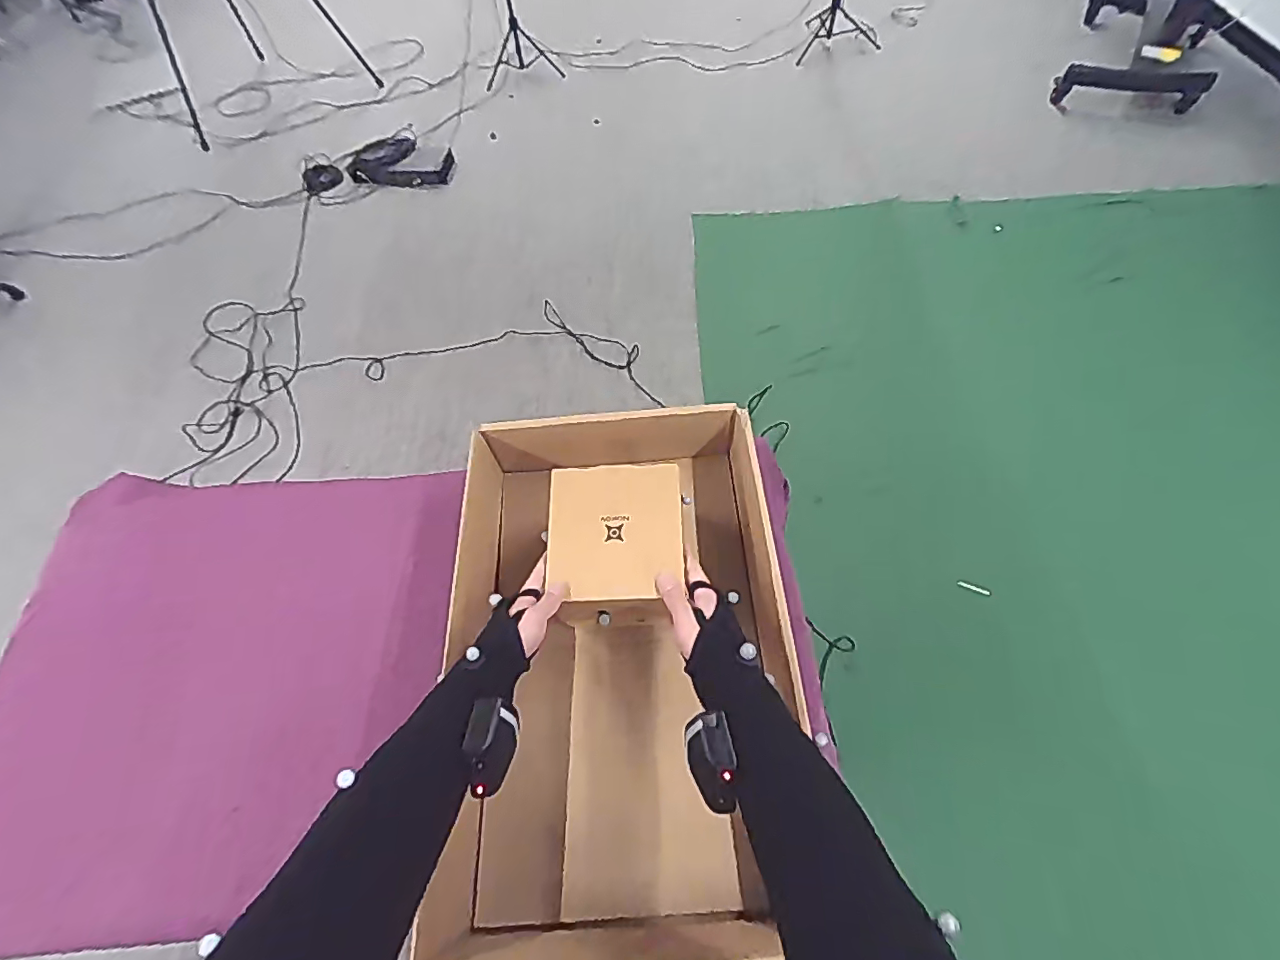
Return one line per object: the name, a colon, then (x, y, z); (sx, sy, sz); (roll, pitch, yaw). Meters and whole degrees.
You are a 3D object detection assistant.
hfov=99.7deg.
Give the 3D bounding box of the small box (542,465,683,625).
small box: (-0.028, 0.097, 0.729); (0.168, 0.176, 0.179); (-3, 64, 3)
